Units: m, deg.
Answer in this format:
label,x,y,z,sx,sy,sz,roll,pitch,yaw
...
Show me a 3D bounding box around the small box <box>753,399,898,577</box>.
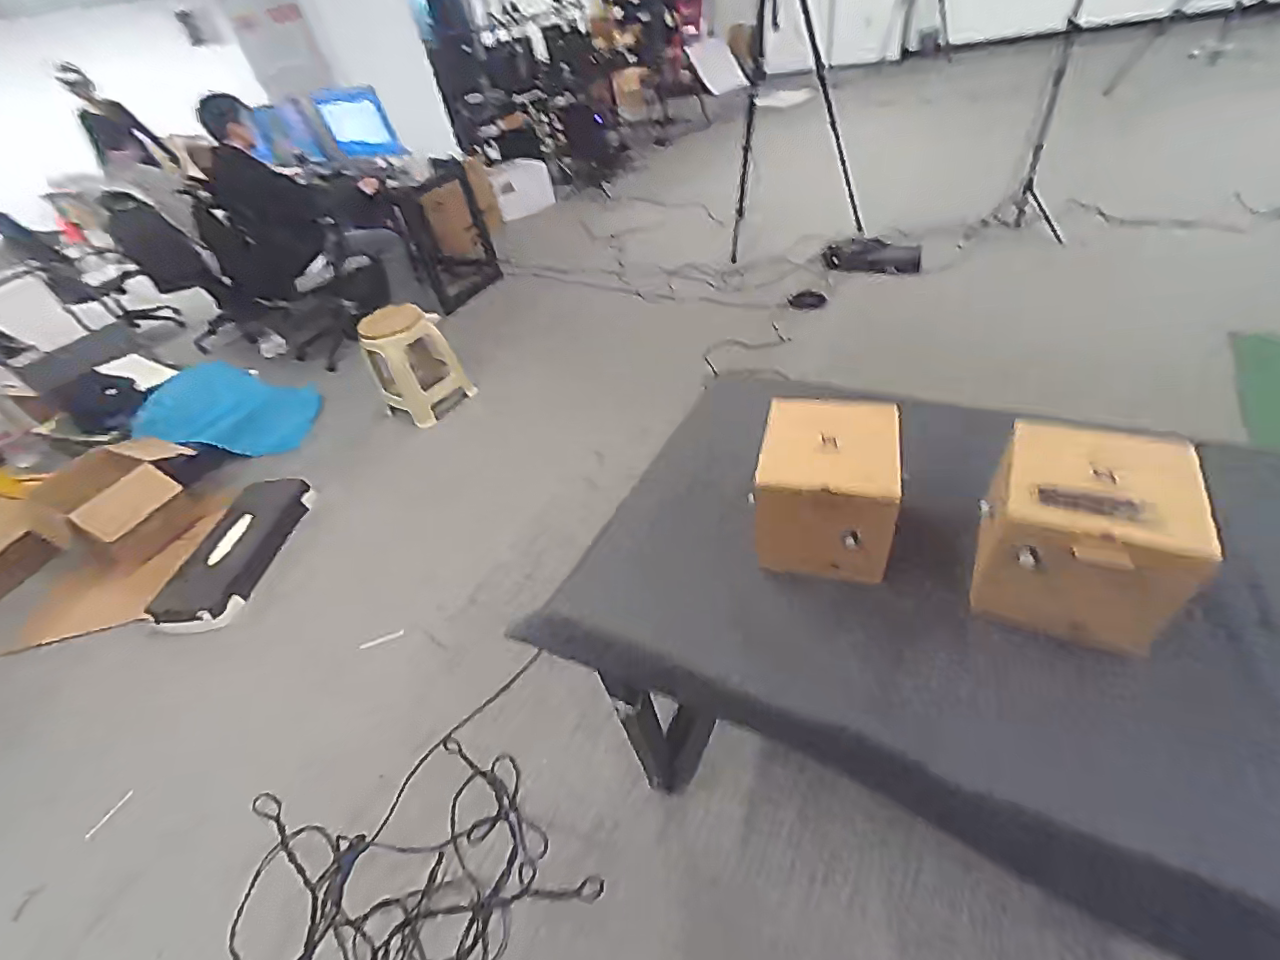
label,x,y,z,sx,sy,sz,roll,pitch,yaw
small box,0.253,0.010,0.743,0.168,0.176,0.179,6,44,18
